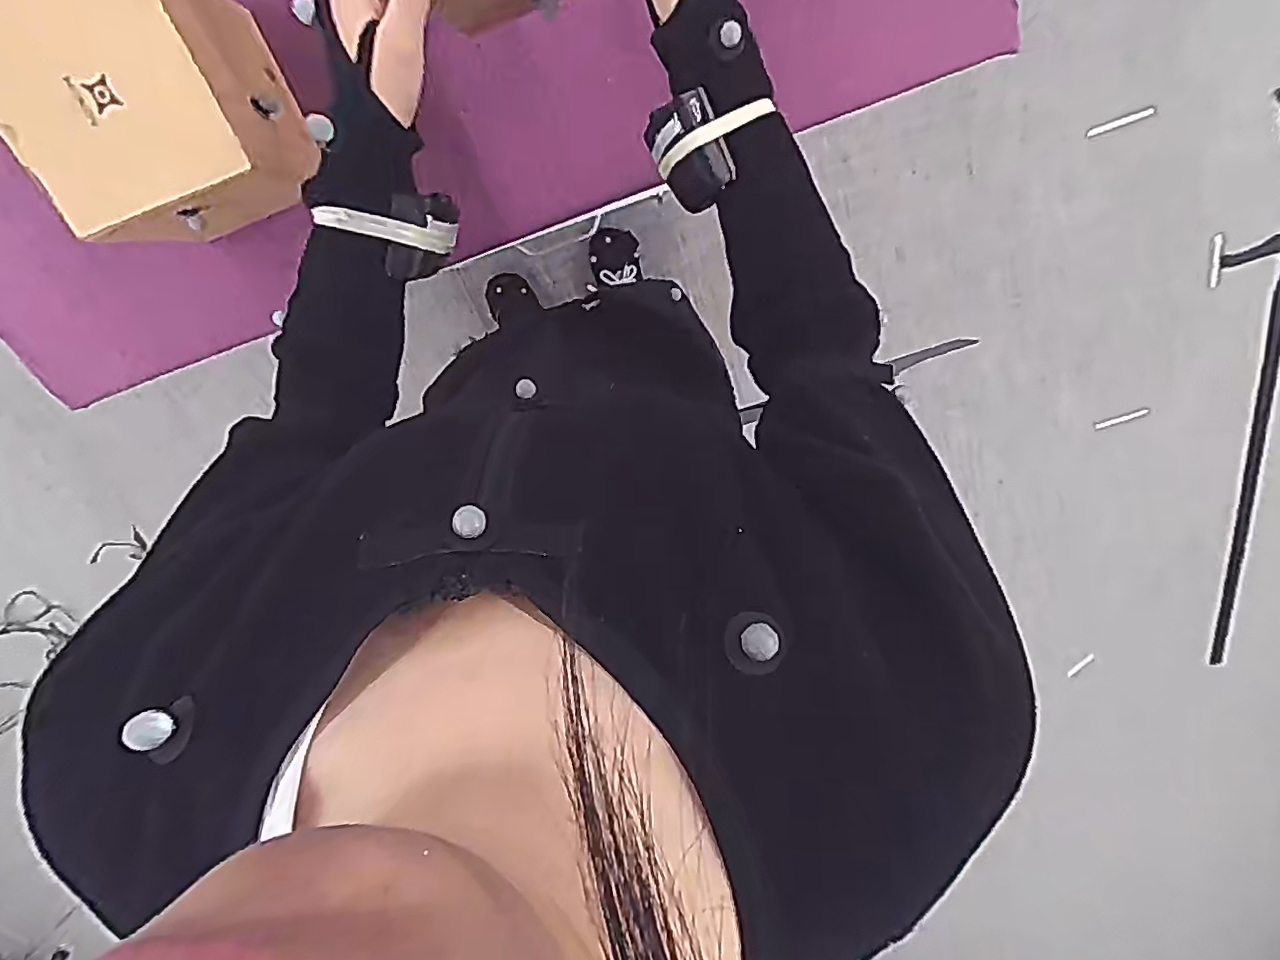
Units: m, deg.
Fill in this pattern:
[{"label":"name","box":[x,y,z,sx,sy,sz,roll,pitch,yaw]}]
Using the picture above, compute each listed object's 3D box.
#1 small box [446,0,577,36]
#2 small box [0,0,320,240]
[{"label":"small box","box":[-0.089,-0.431,0.348,0.168,0.176,0.179,-17,122,6]},{"label":"small box","box":[-0.439,-0.339,0.505,0.179,0.176,0.168,-18,114,5]}]
